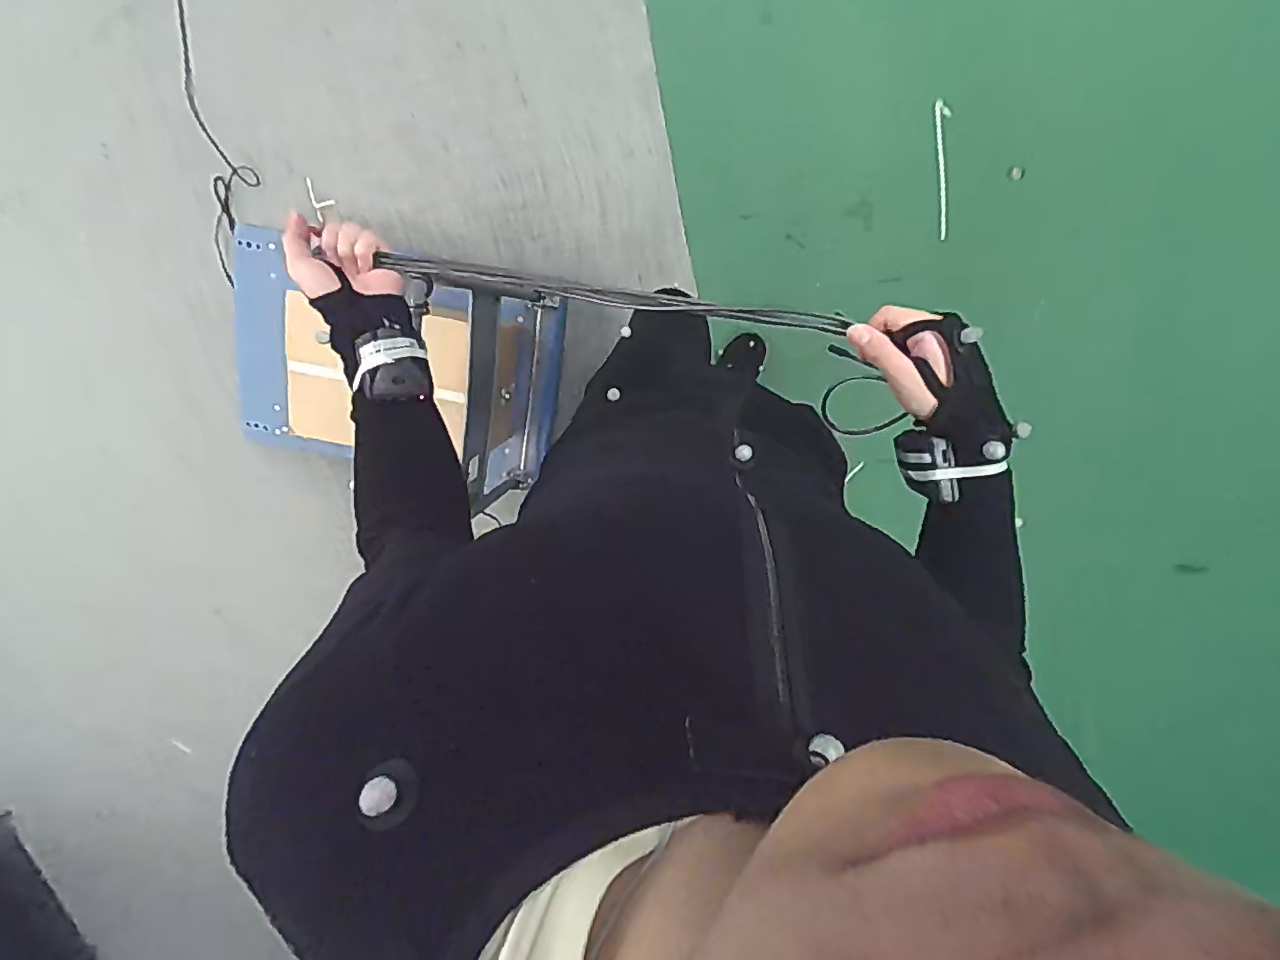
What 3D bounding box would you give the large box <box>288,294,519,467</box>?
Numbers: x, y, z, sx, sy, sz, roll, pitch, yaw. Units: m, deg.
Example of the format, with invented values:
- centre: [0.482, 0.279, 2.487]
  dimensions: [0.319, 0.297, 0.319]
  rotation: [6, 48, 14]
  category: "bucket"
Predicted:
- centre: [-0.533, -0.246, 1.280]
  dimensions: [0.408, 0.320, 0.320]
  rotation: [11, 106, 3]
  category: "large box"
